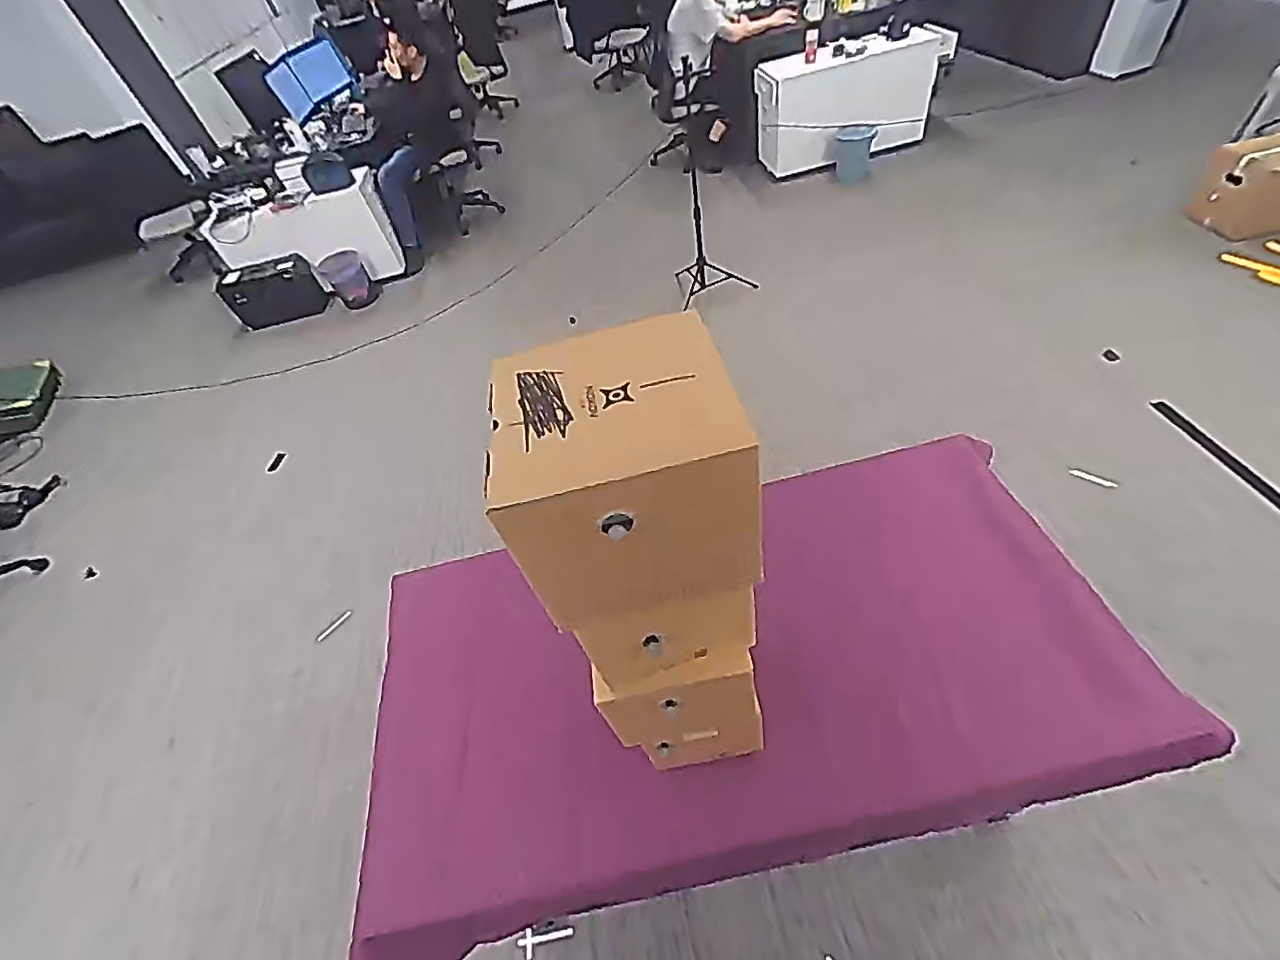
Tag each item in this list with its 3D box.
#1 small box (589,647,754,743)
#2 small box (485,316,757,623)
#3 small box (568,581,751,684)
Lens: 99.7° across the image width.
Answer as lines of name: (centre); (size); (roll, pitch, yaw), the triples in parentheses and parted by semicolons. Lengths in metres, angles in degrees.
small box: (0.038, 0.215, 0.686); (0.179, 0.176, 0.168); (-12, 48, 2)
small box: (-0.010, -0.003, 0.447); (0.179, 0.176, 0.168); (-14, 47, 1)
small box: (0.011, 0.096, 0.577); (0.168, 0.176, 0.179); (-19, 47, -3)
